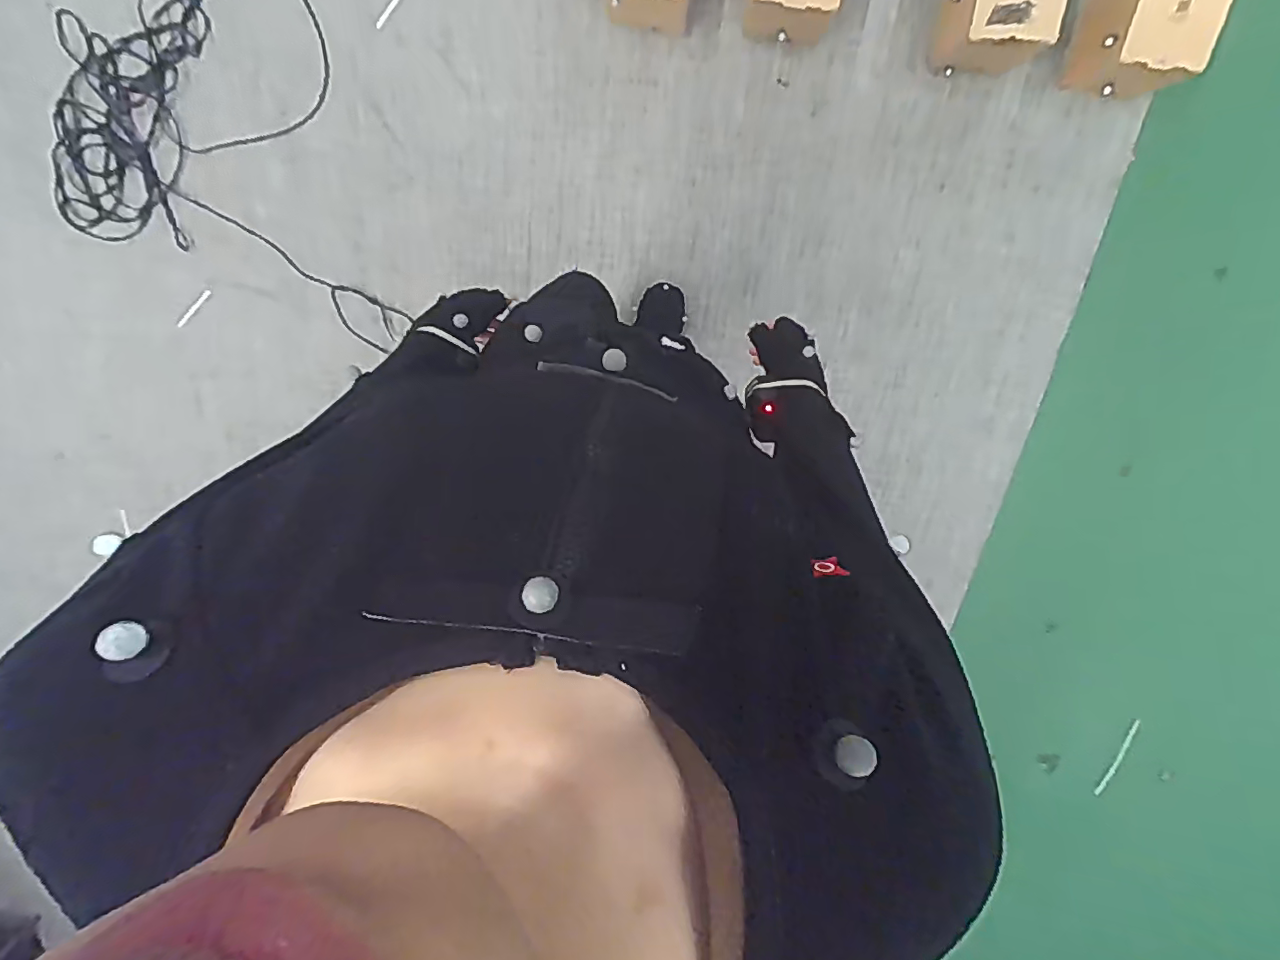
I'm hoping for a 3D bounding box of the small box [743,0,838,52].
[{"bbox_3d":[0.304,-0.992,1.065,0.168,0.176,0.179,9,110,1],"label":"small box"}]

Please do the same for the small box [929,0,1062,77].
[{"bbox_3d":[0.702,-0.929,1.069,0.168,0.176,0.179,4,108,1],"label":"small box"}]

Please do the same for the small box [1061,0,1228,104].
[{"bbox_3d":[0.991,-0.884,1.072,0.168,0.176,0.179,8,109,1],"label":"small box"}]
